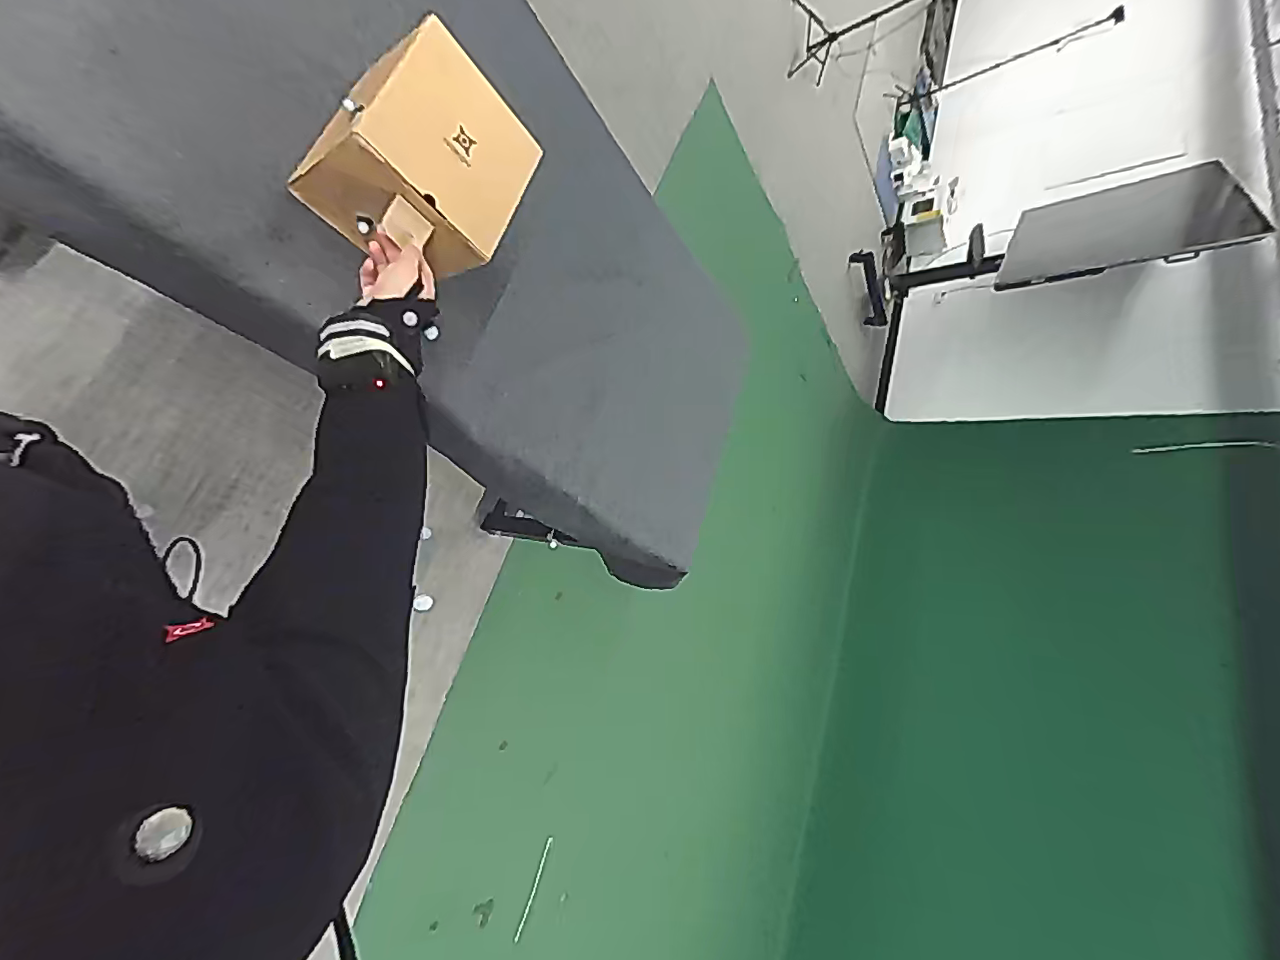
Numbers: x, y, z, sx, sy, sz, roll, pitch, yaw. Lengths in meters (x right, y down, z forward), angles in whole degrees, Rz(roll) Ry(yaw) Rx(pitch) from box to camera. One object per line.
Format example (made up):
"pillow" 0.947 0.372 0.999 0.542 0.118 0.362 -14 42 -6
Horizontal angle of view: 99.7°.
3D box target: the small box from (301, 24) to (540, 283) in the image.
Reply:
"small box" -0.254 -0.361 0.631 0.168 0.176 0.179 38 63 -46
